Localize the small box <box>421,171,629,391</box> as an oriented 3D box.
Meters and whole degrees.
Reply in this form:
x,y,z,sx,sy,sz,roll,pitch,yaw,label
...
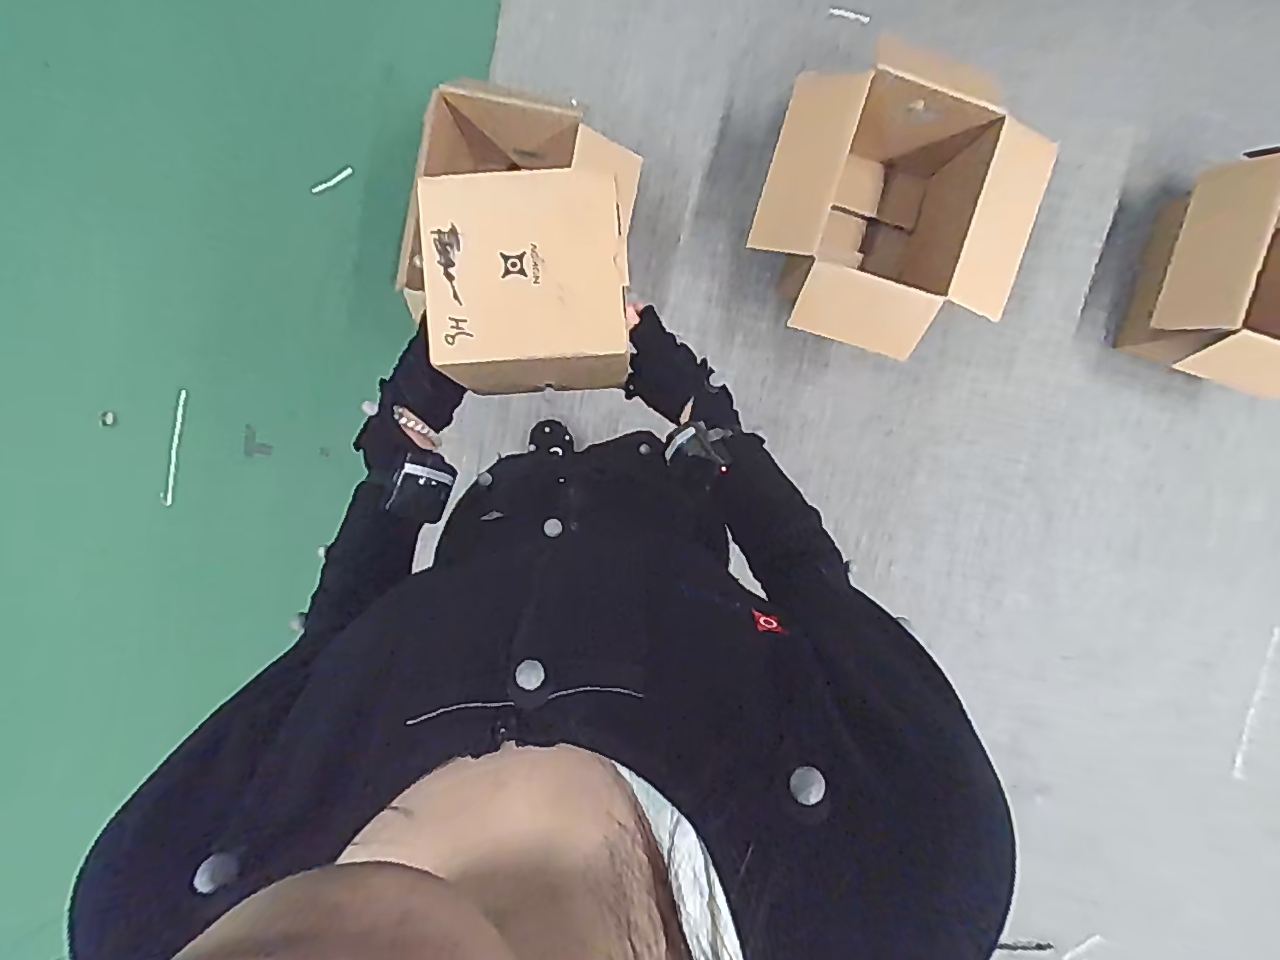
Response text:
x,y,z,sx,sy,sz,roll,pitch,yaw,label
-0.107,-0.190,0.557,0.179,0.176,0.168,-3,89,-3,small box
